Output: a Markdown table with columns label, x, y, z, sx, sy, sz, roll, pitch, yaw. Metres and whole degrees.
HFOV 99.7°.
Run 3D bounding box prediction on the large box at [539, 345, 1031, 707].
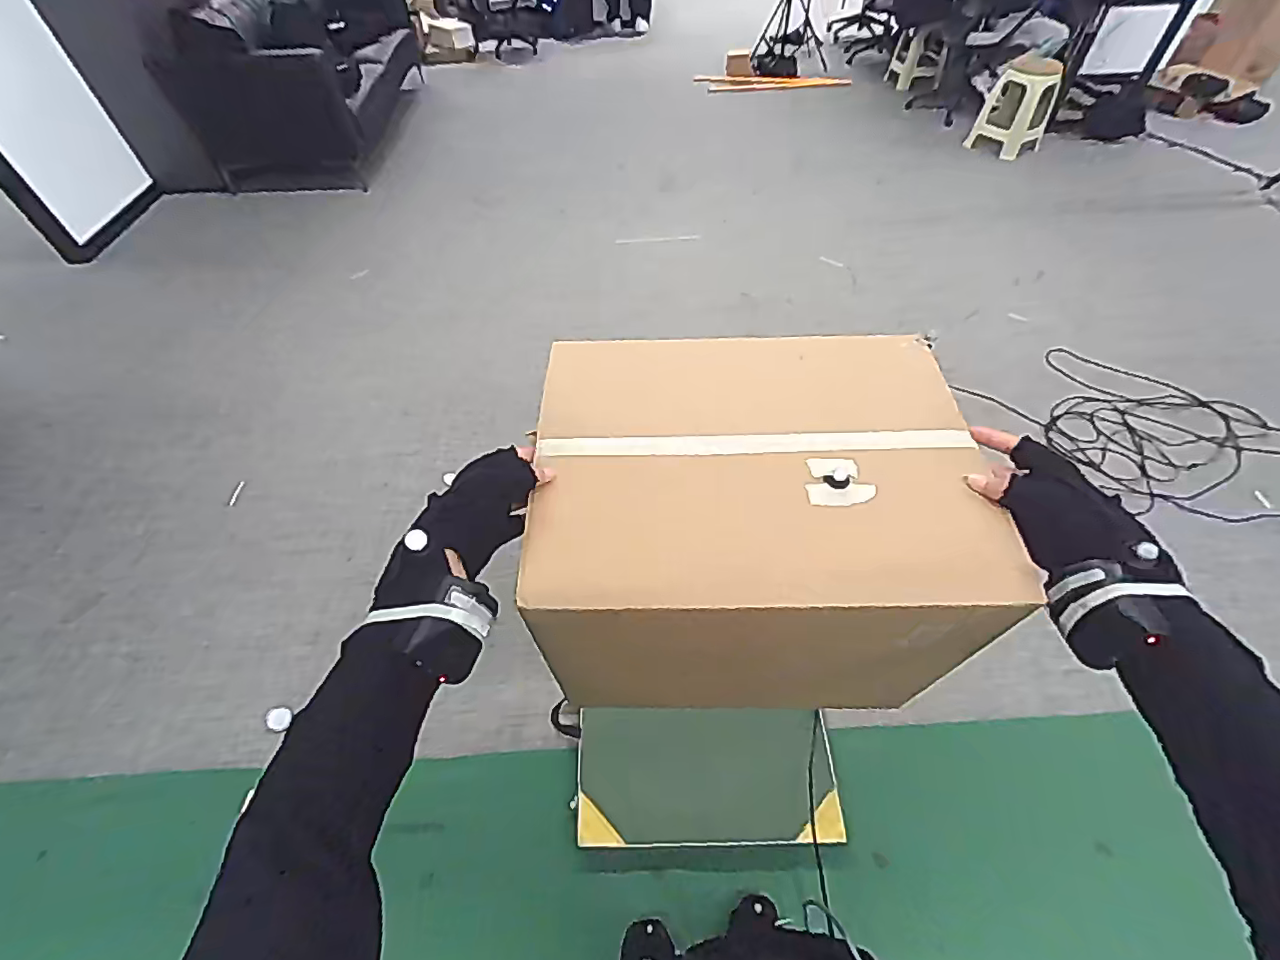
| label | x | y | z | sx | sy | sz | roll | pitch | yaw |
| --- | --- | --- | --- | --- | --- | --- | --- | --- | --- |
| large box | 0.113 | 0.064 | 0.636 | 0.408 | 0.320 | 0.320 | -1 | 54 | 1 |
